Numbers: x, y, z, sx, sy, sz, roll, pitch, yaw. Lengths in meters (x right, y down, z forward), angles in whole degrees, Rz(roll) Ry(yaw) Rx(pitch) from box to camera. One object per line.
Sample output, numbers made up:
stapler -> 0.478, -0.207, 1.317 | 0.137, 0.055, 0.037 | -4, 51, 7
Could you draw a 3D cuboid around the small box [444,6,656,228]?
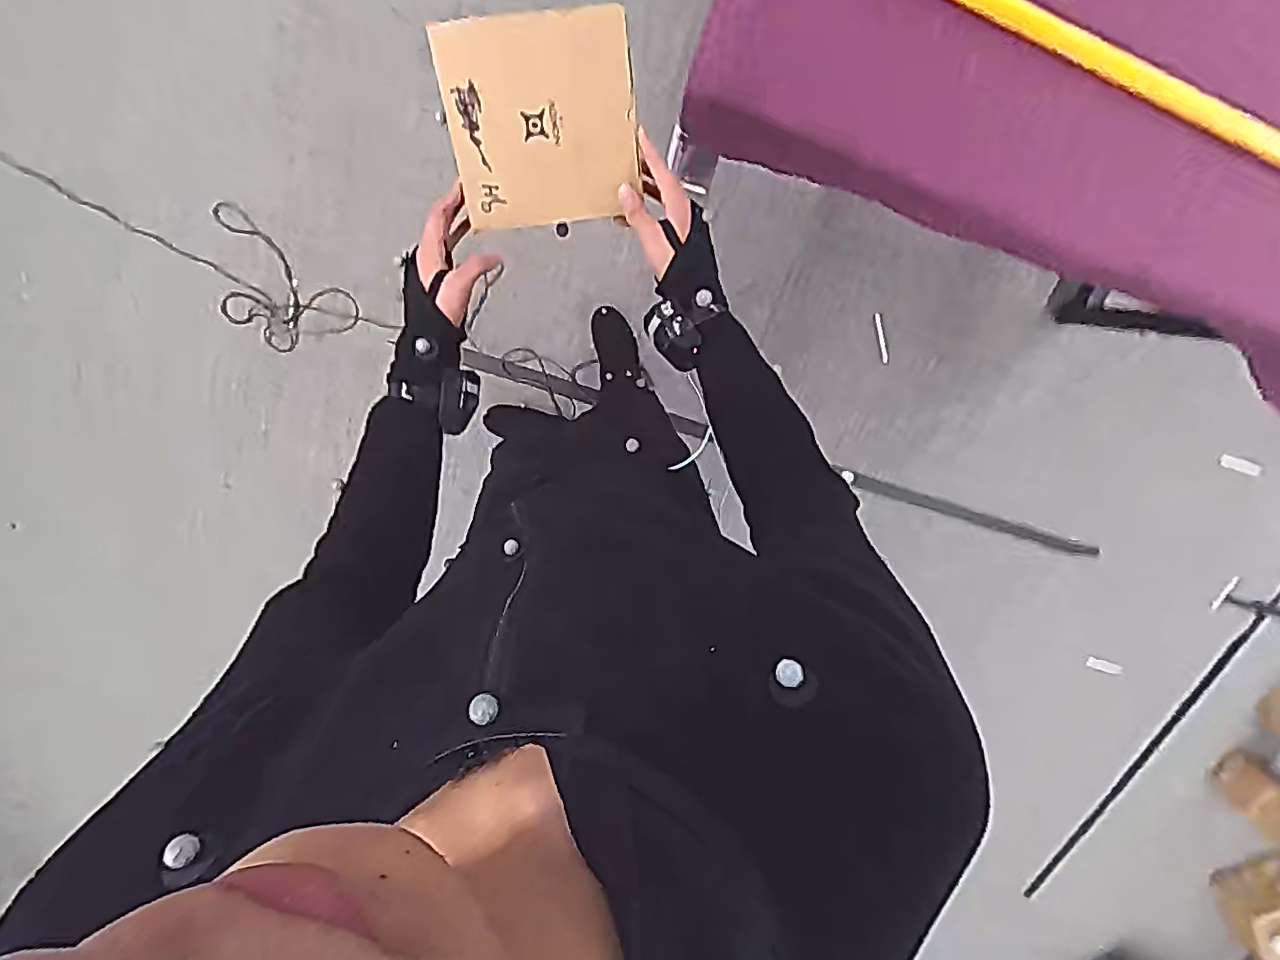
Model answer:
small box -> -0.086, -0.366, 0.569 | 0.179, 0.176, 0.168 | -7, 117, -4
